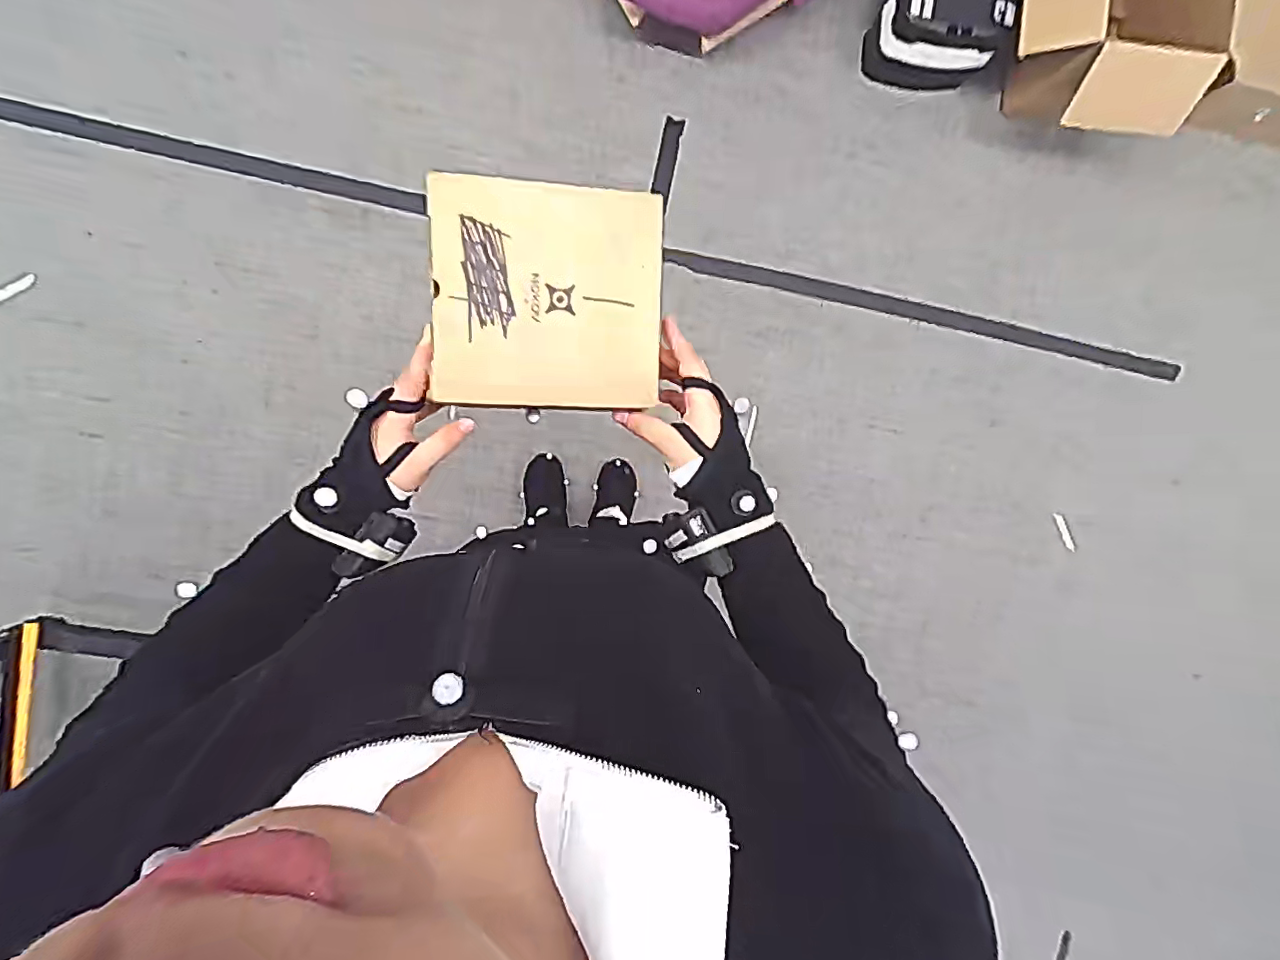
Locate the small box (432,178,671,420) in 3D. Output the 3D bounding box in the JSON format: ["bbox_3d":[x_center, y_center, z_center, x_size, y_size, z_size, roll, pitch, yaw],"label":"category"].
[{"bbox_3d":[-0.079,-0.141,0.483,0.179,0.176,0.168,1,96,-12],"label":"small box"}]
